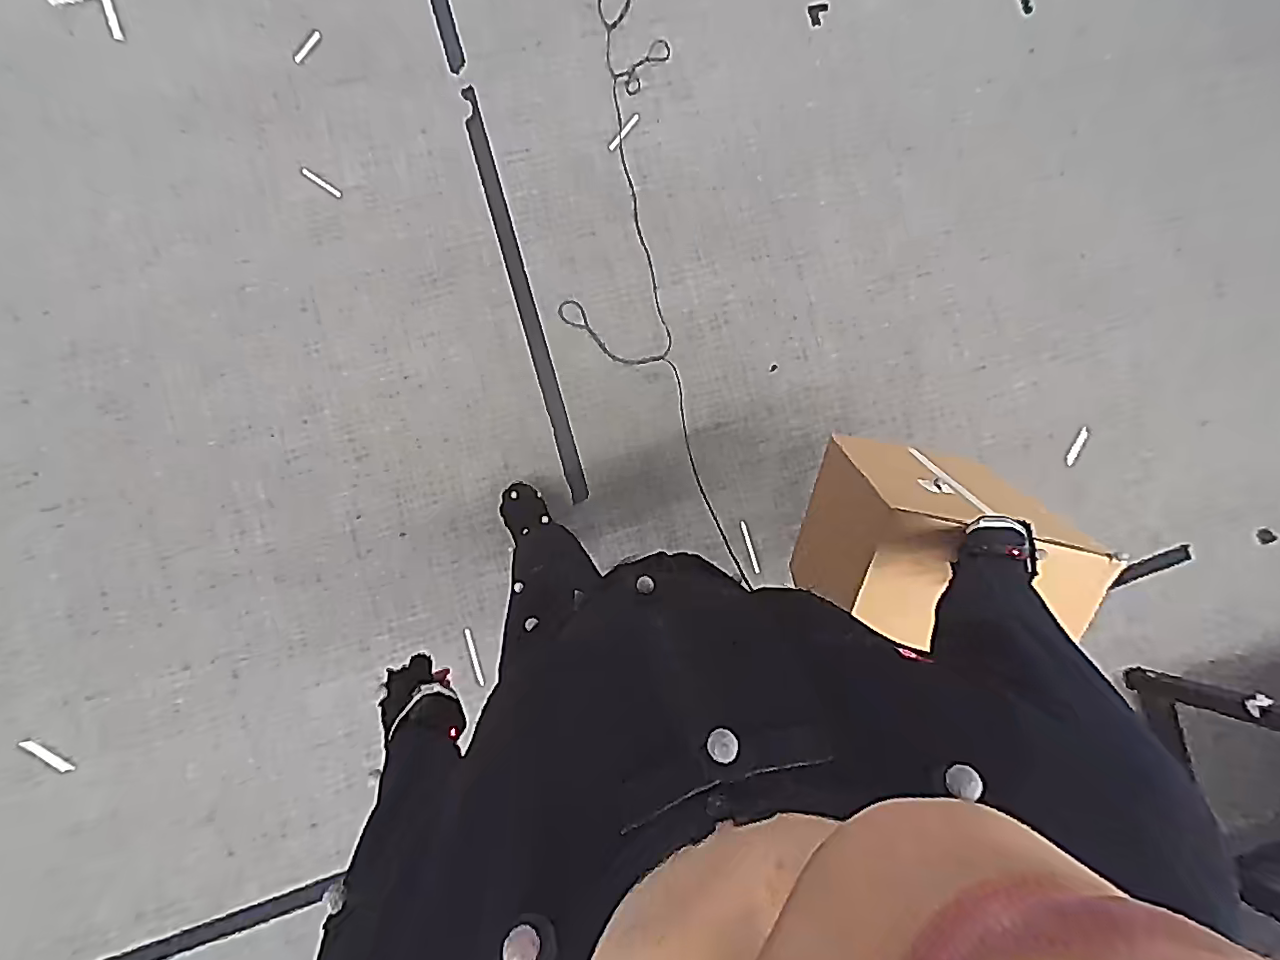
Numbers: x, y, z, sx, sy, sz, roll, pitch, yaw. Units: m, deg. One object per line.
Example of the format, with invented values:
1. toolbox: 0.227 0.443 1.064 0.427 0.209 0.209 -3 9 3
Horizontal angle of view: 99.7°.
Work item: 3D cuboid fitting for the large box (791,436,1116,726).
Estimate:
1. large box: 0.491 0.149 0.974 0.320 0.408 0.320 12 111 3
